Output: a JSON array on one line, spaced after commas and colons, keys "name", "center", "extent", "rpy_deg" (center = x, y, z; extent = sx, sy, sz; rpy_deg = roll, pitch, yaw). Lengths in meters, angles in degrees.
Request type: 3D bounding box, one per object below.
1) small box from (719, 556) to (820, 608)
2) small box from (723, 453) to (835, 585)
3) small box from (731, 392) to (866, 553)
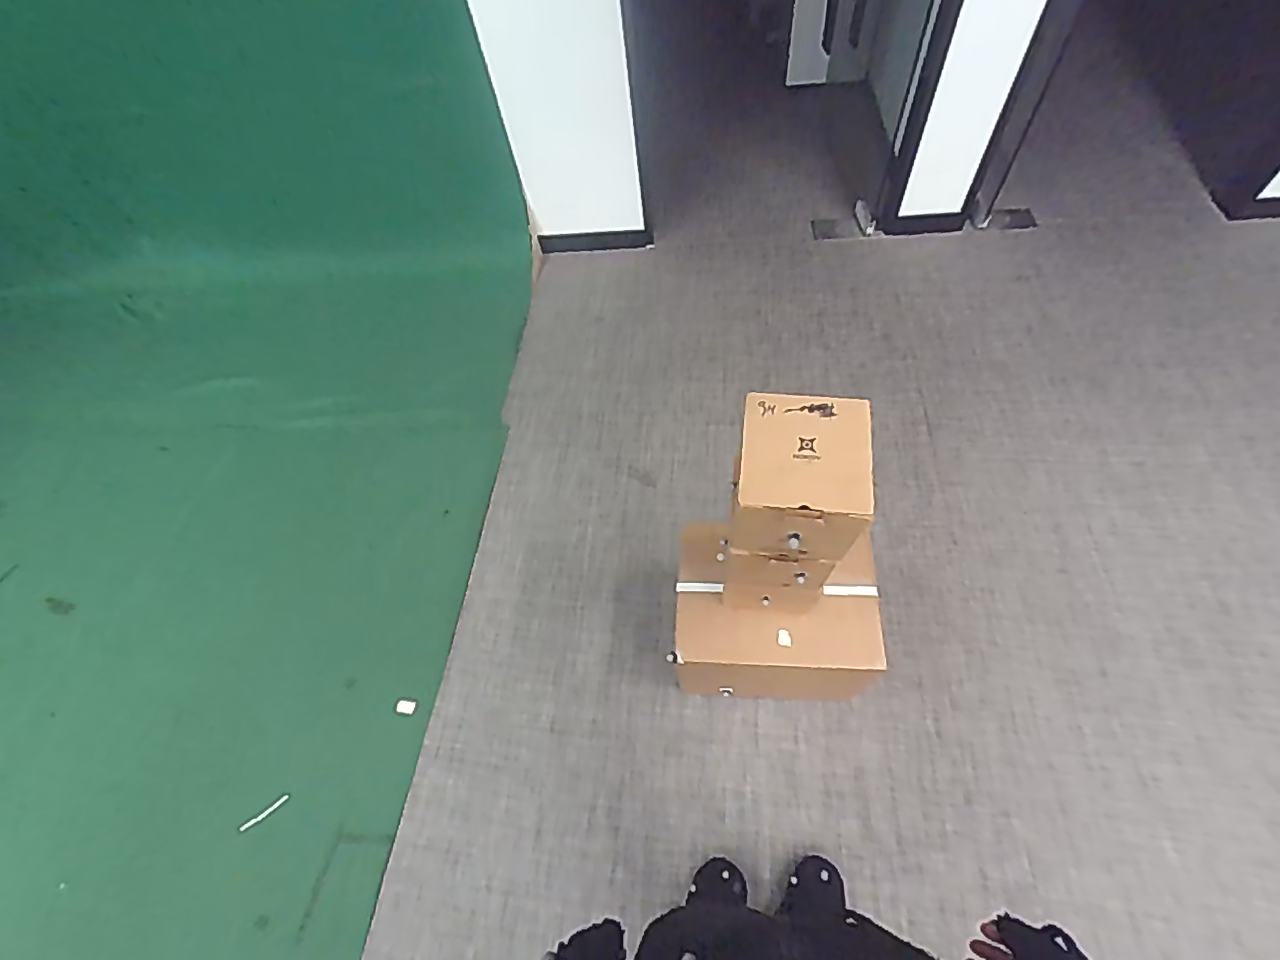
[{"name": "small box", "center": [0.254, 0.147, 1.068], "extent": [0.179, 0.176, 0.168], "rpy_deg": [7, 63, 11]}, {"name": "small box", "center": [0.232, 0.072, 0.929], "extent": [0.168, 0.176, 0.179], "rpy_deg": [4, 63, 8]}, {"name": "small box", "center": [0.222, -0.005, 0.785], "extent": [0.168, 0.176, 0.179], "rpy_deg": [5, 65, 9]}]
